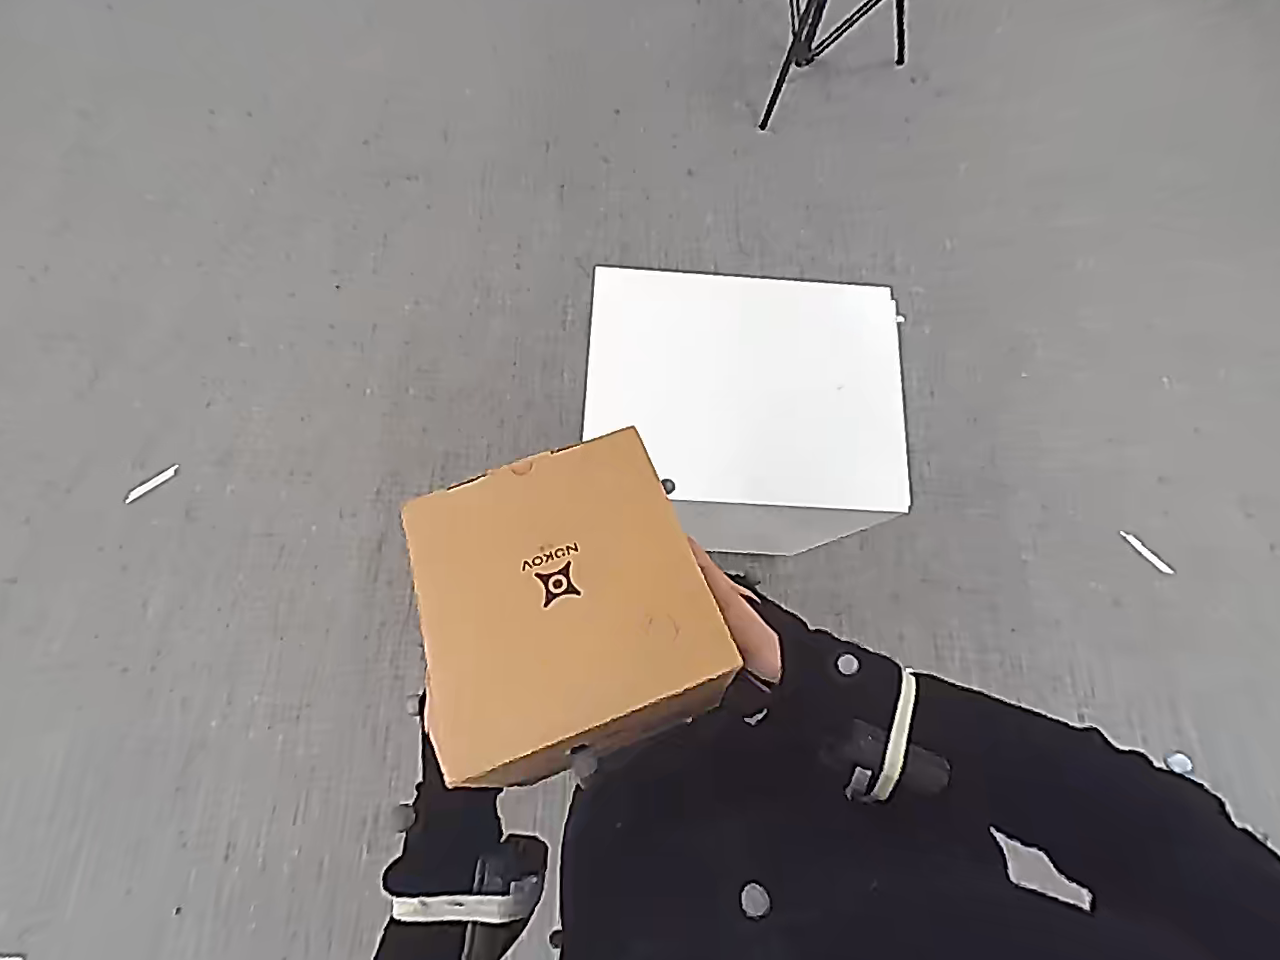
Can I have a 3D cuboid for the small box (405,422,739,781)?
[{"bbox_3d":[-0.043,0.094,0.390,0.168,0.176,0.179,-19,60,-7],"label":"small box"}]
